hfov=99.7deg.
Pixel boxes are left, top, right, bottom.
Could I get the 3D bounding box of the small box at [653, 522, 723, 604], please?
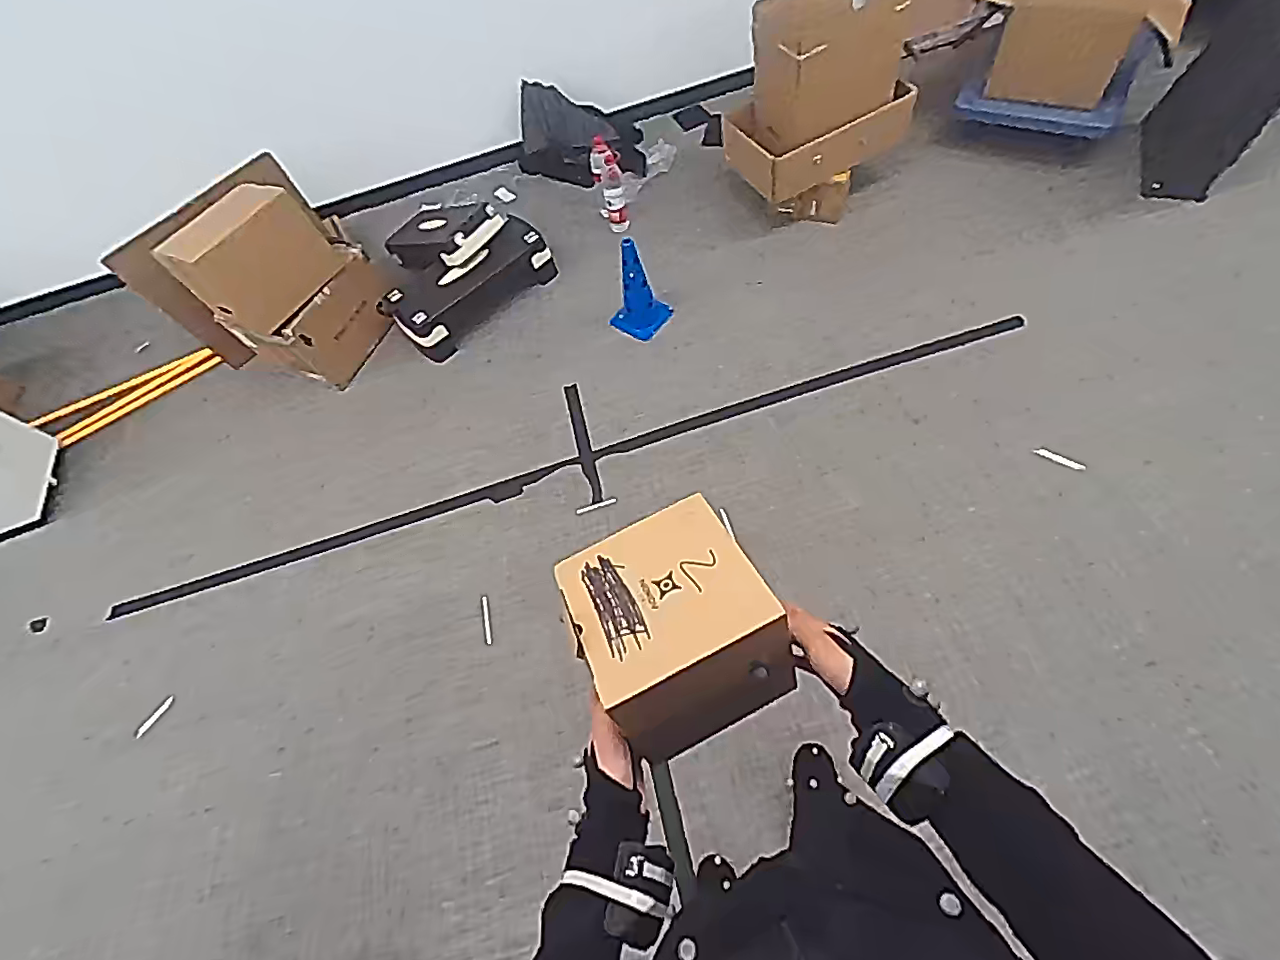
[{"bbox_3d":[0.143,0.249,1.573,0.168,0.176,0.179,-14,60,2],"label":"small box"}]
